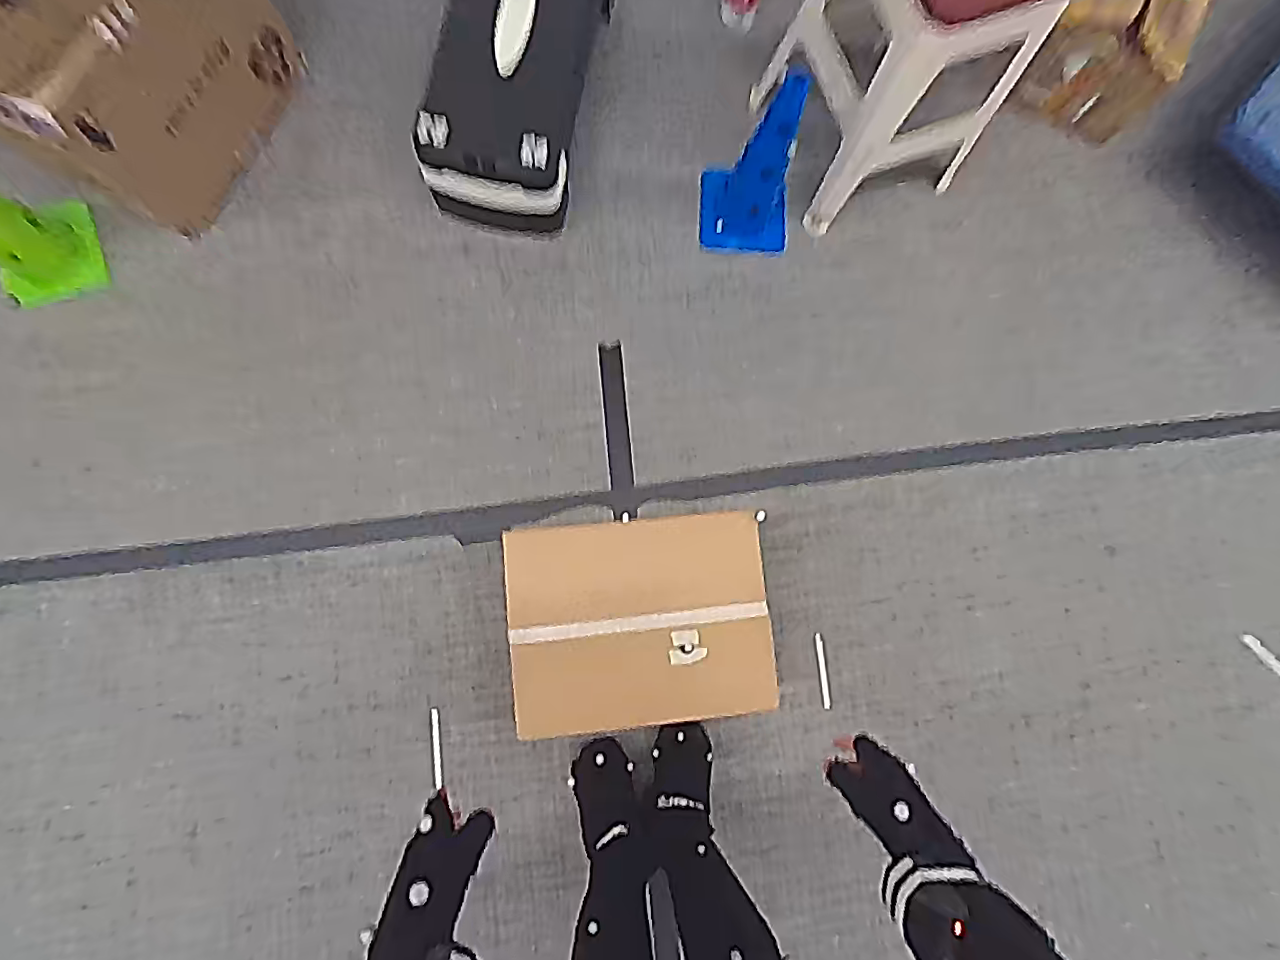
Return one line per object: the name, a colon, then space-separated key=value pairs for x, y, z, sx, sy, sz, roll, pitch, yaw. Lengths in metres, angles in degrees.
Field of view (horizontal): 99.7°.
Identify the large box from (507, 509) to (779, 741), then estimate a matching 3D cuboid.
large box: x=-0.008 y=0.238 z=0.989 sx=0.408 sy=0.320 sz=0.320 roll=-5 pitch=84 yaw=-6
